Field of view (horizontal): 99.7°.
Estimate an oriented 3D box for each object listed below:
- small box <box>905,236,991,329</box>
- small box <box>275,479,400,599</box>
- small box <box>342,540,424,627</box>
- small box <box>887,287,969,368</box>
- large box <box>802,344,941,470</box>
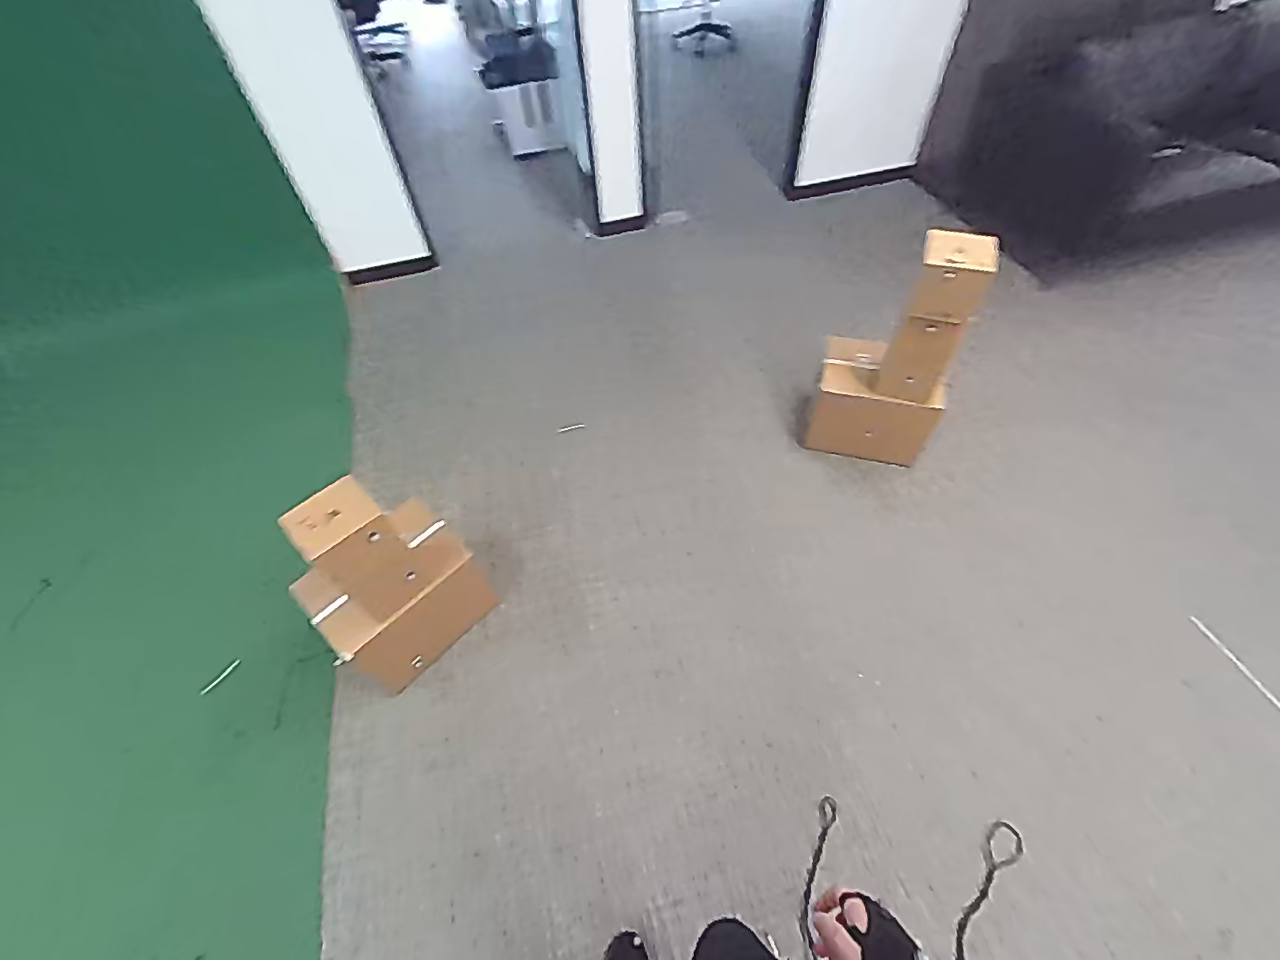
[{"bbox_3d":[0.858,-0.553,1.513,0.168,0.176,0.179,14,54,16],"label":"small box"},{"bbox_3d":[-0.686,0.138,1.251,0.168,0.176,0.179,37,62,28],"label":"small box"},{"bbox_3d":[-0.680,0.238,1.382,0.168,0.176,0.179,35,62,26],"label":"small box"},{"bbox_3d":[0.878,-0.463,1.650,0.179,0.176,0.168,13,55,14],"label":"small box"},{"bbox_3d":[0.846,-0.271,2.019,0.408,0.320,0.320,10,52,12],"label":"large box"}]
